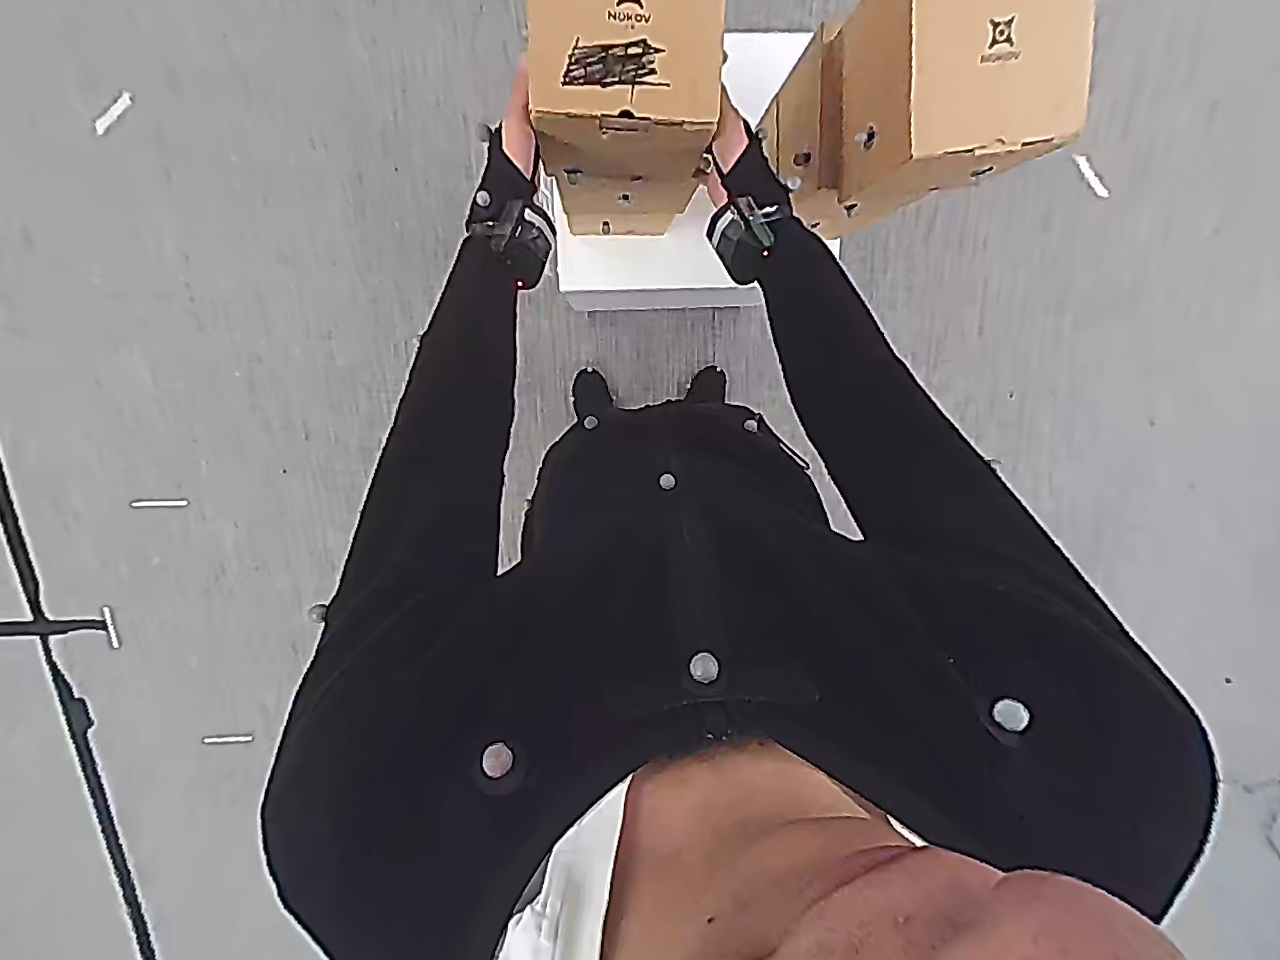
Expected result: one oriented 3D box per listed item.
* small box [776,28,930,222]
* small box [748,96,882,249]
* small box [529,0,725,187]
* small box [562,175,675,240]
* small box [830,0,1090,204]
[{"bbox_3d":[0.283,-0.445,0.706,0.168,0.176,0.179,-4,103,-2],"label":"small box"},{"bbox_3d":[0.273,-0.483,0.867,0.168,0.176,0.179,-4,103,-1],"label":"small box"},{"bbox_3d":[-0.016,-0.405,0.527,0.168,0.176,0.179,1,102,-6],"label":"small box"},{"bbox_3d":[-0.034,-0.483,0.848,0.168,0.176,0.179,-2,103,-4],"label":"small box"},{"bbox_3d":[0.307,-0.397,0.551,0.168,0.176,0.179,-9,103,-2],"label":"small box"}]
